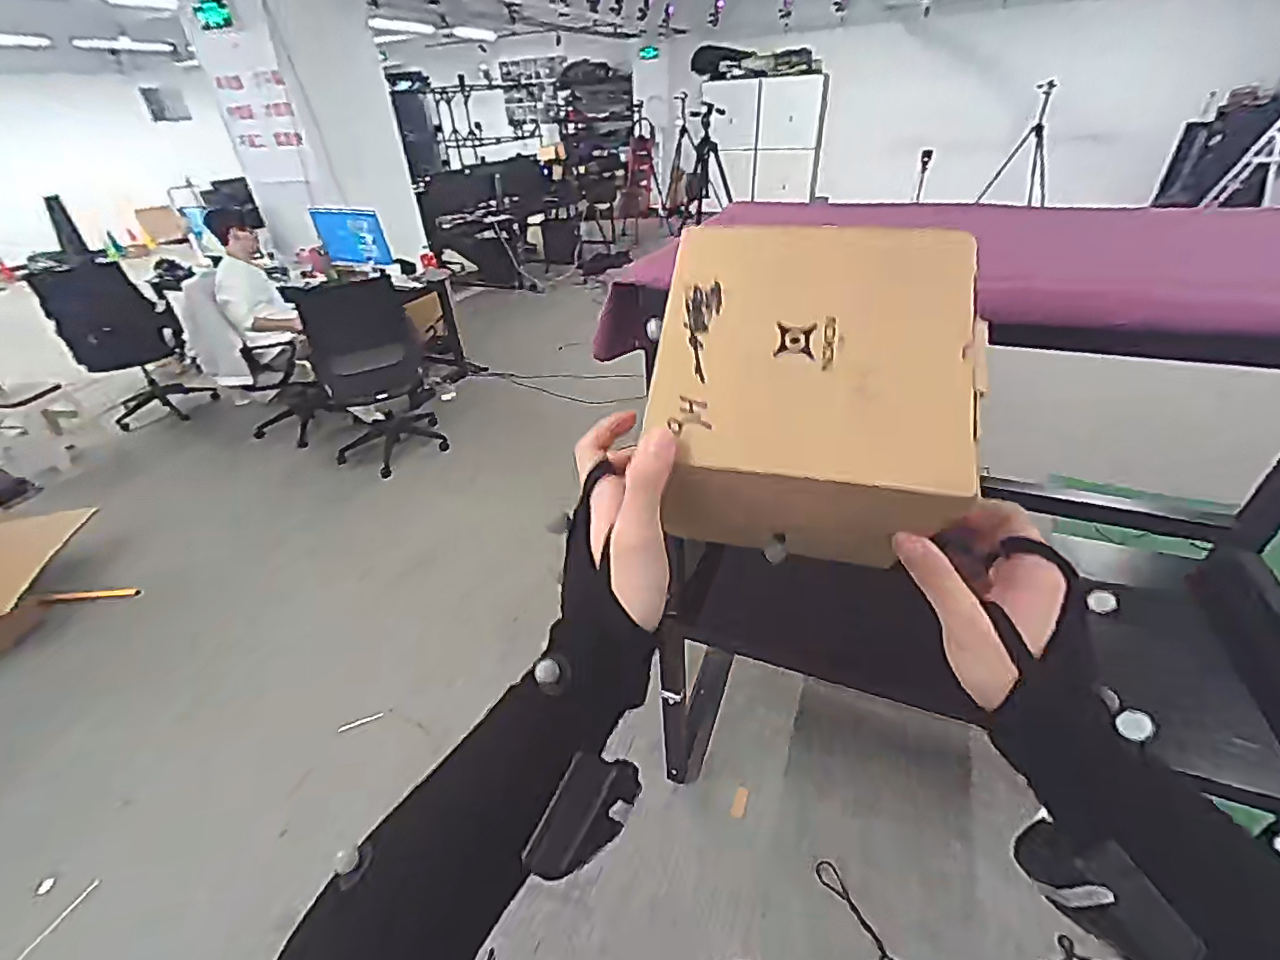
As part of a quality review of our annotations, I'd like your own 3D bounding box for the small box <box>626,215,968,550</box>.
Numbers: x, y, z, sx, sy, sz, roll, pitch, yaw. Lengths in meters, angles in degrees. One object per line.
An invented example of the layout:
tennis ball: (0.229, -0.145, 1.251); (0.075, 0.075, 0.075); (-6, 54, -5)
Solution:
small box: (0.103, -0.055, 0.382); (0.179, 0.176, 0.168); (8, 71, 12)
